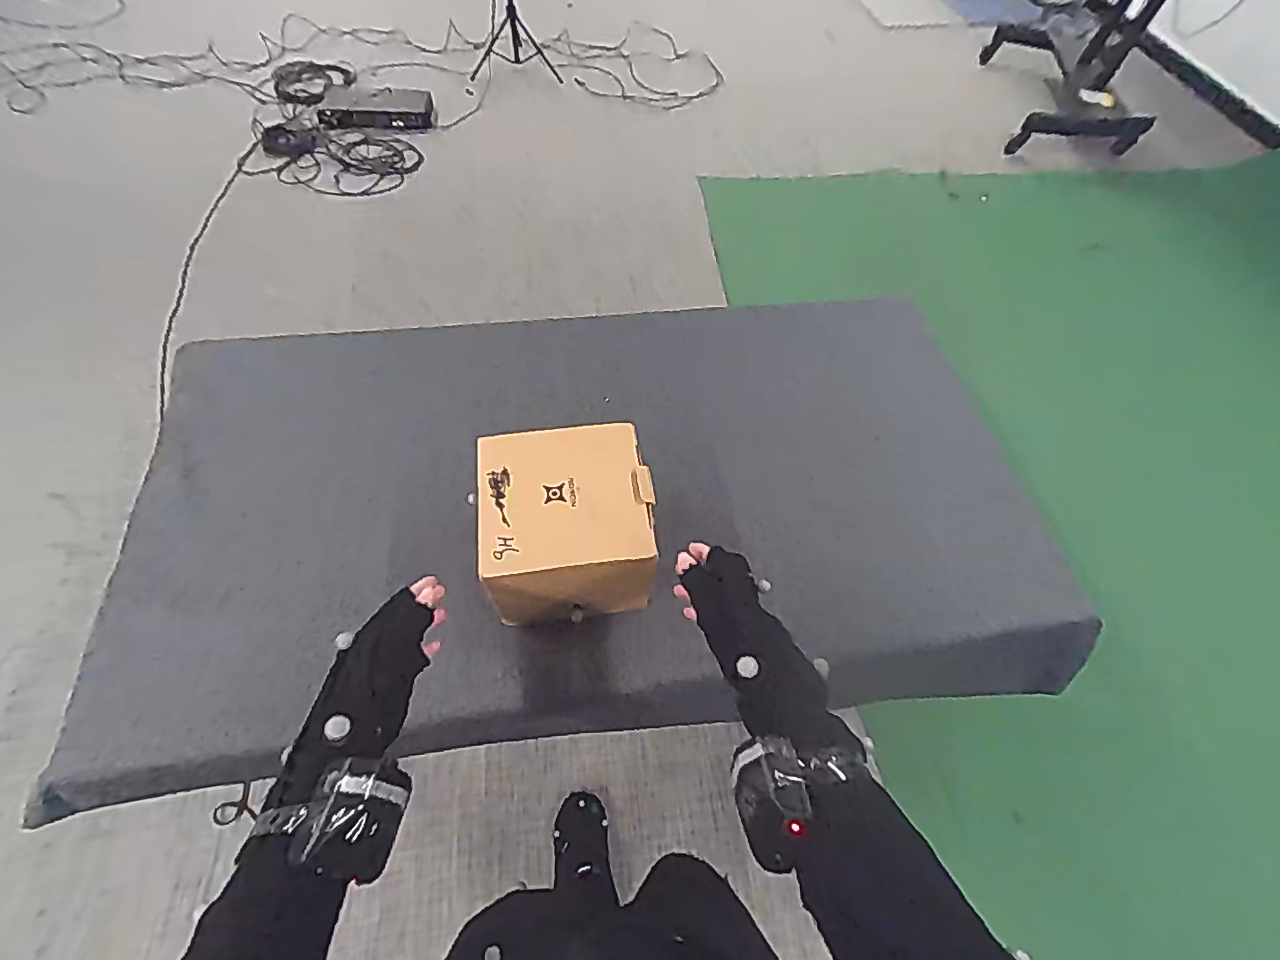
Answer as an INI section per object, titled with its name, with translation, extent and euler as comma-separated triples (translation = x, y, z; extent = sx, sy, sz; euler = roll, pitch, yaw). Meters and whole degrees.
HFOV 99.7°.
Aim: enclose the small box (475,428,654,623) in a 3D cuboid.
[small box]
translation = -0.088, 0.058, 0.632
extent = 0.179, 0.176, 0.168
euler = -5, 60, -7
